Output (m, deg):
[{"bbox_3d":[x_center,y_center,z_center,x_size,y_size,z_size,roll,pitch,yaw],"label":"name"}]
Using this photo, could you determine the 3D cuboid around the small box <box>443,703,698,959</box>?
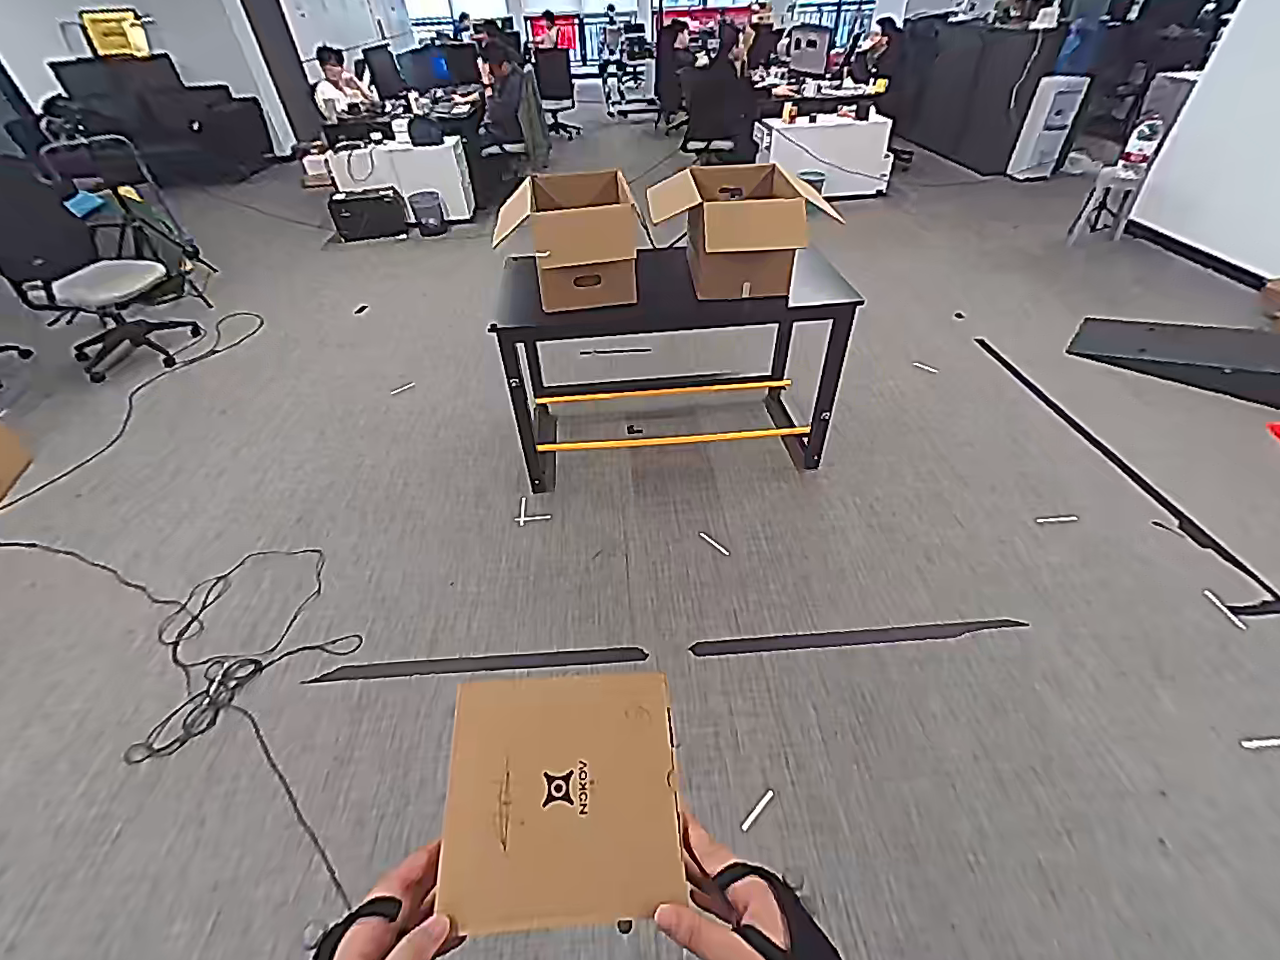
[{"bbox_3d":[-0.056,0.304,0.475,0.179,0.176,0.168,-3,56,-4],"label":"small box"}]
